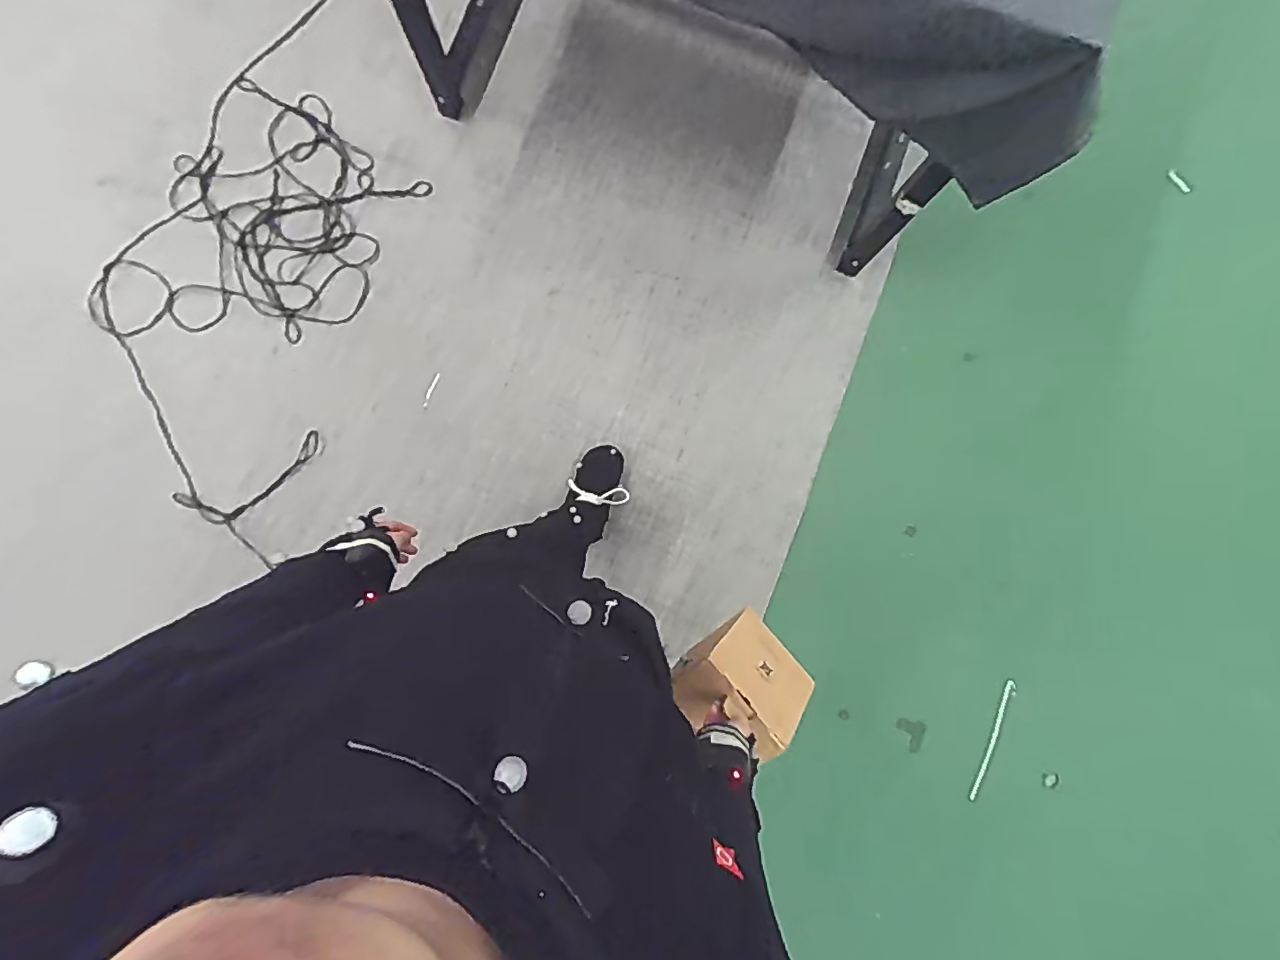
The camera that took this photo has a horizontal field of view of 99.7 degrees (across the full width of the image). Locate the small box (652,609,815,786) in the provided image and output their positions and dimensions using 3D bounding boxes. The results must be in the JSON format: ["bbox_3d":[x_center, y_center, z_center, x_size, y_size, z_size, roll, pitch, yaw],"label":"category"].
[{"bbox_3d":[0.144,0.345,0.863,0.168,0.179,0.176,50,120,10],"label":"small box"}]
